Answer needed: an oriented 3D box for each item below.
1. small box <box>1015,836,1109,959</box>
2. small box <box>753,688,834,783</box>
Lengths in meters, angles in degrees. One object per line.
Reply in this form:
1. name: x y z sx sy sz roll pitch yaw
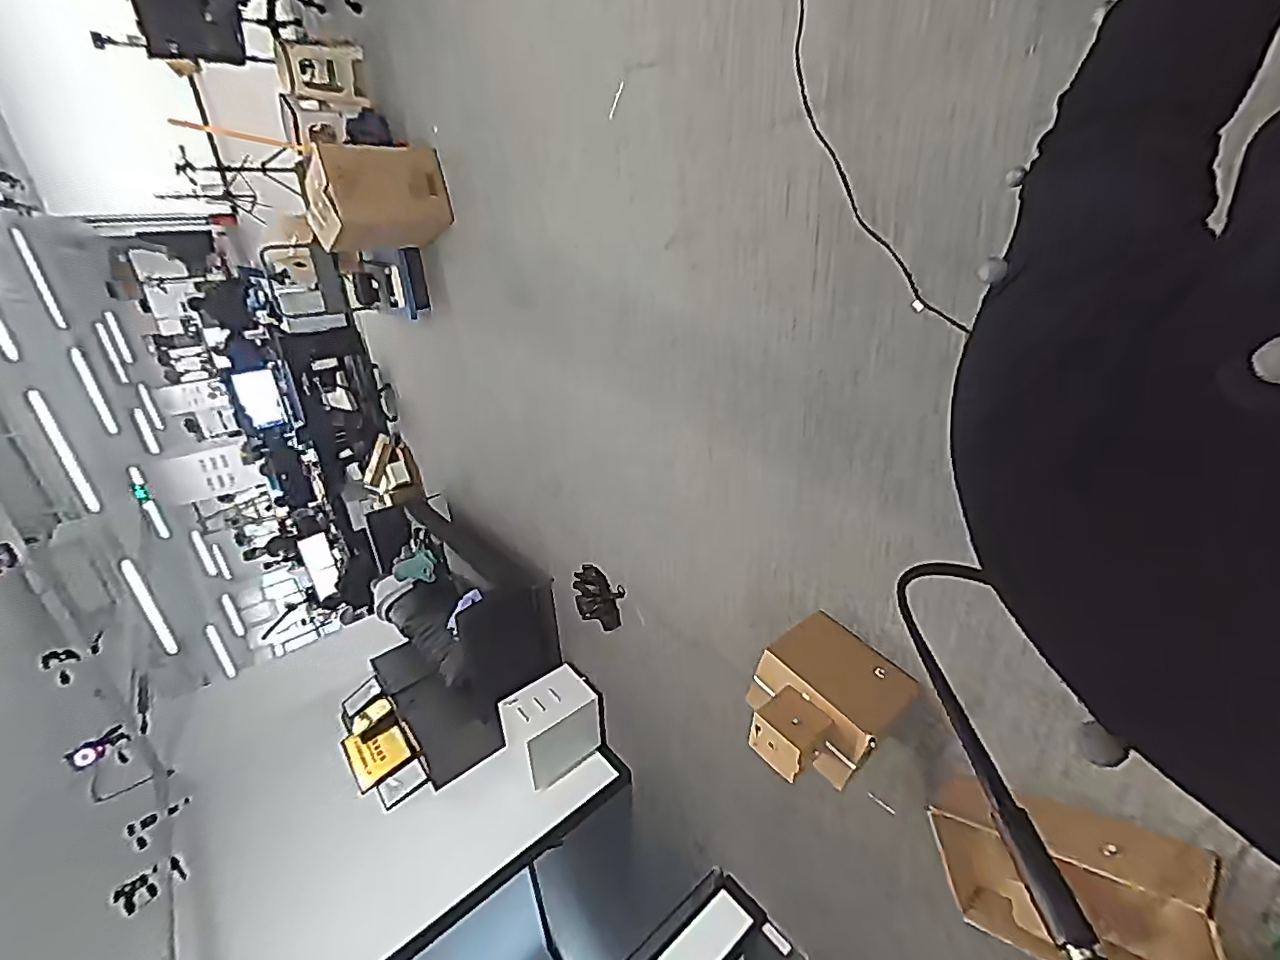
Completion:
1. small box: 1.144 1.121 1.463 0.168 0.176 0.179 1 111 52
2. small box: 0.486 0.797 1.708 0.179 0.176 0.168 31 131 41
